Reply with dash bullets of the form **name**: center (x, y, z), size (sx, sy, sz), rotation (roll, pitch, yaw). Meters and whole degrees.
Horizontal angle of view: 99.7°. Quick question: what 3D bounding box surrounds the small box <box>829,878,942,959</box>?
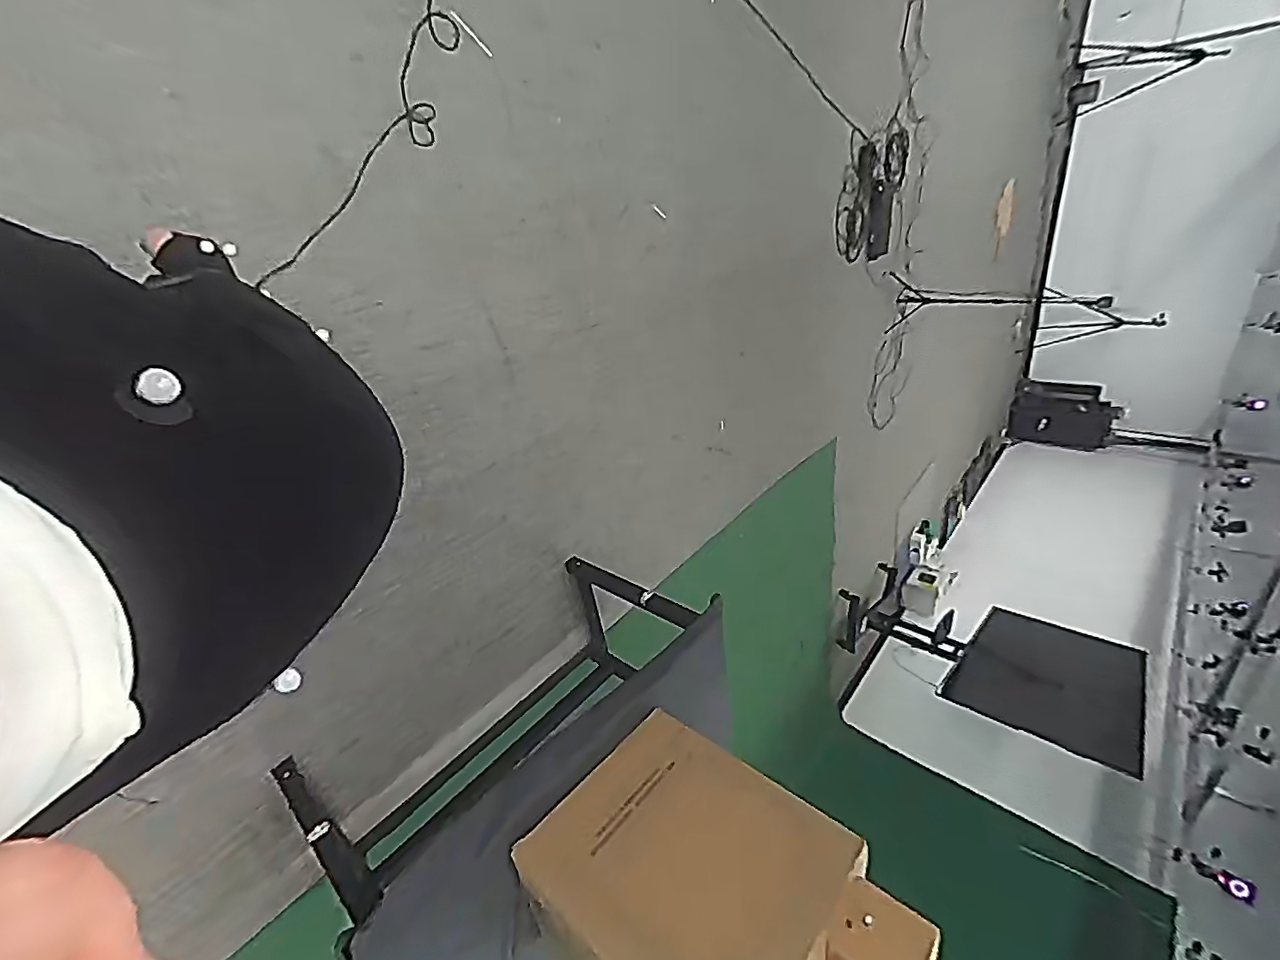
- **small box**: center (0.504, 0.986, 1.122), size (0.168, 0.176, 0.179), rotation (-30, 121, -40)
